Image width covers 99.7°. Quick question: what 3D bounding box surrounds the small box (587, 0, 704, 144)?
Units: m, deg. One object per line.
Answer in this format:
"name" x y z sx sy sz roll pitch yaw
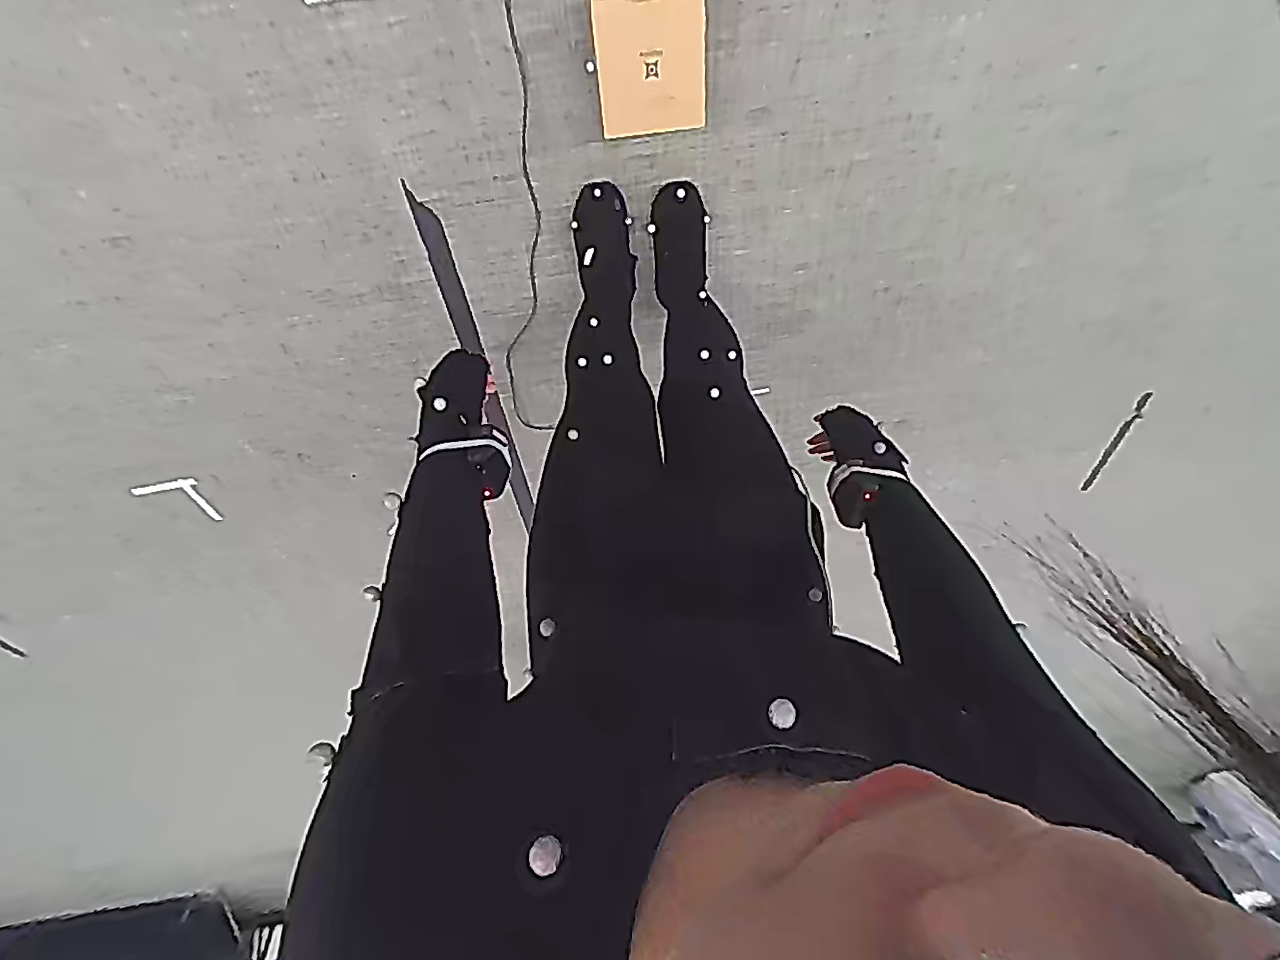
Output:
"small box" 0.007 -0.668 0.875 0.168 0.176 0.179 -7 133 -1
